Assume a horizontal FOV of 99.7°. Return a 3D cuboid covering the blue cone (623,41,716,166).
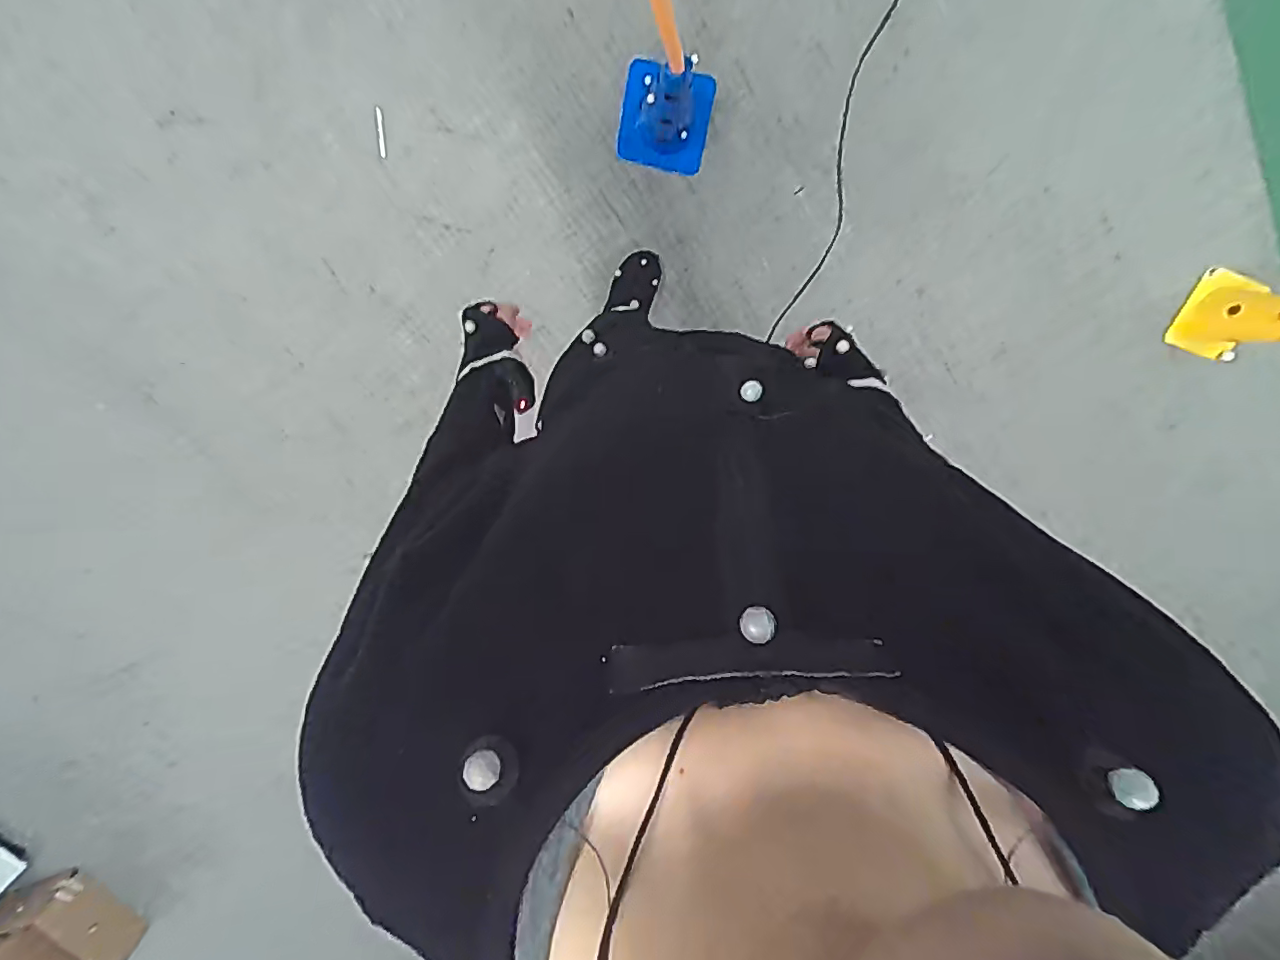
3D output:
[{"bbox_3d":[0.061,-0.748,1.044,0.193,0.380,0.192,9,112,-3],"label":"blue cone"}]
